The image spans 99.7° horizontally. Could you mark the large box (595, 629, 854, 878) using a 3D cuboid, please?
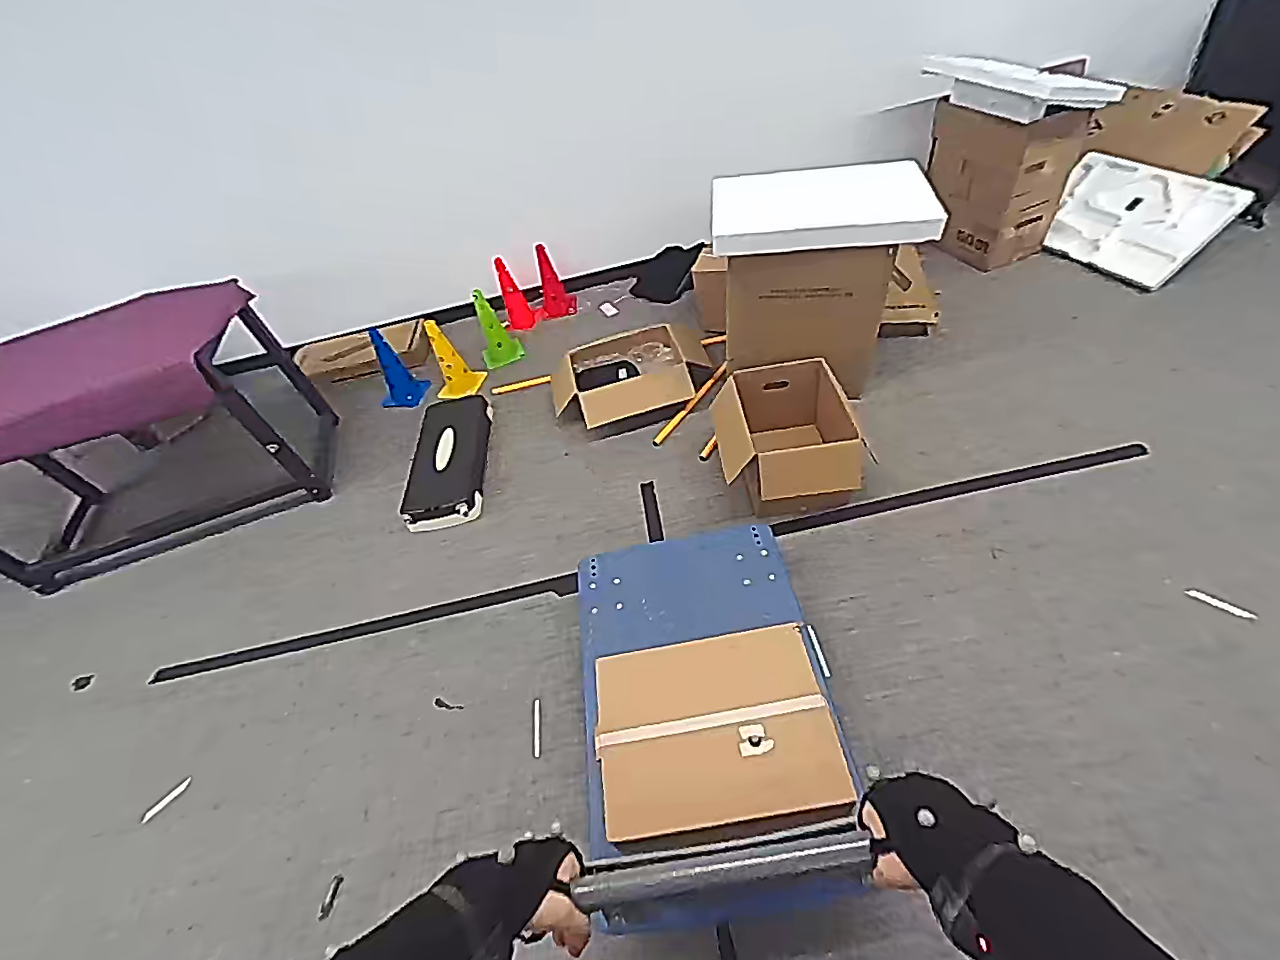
[{"bbox_3d":[0.144,0.537,1.055,0.408,0.320,0.320,-11,47,1],"label":"large box"}]
